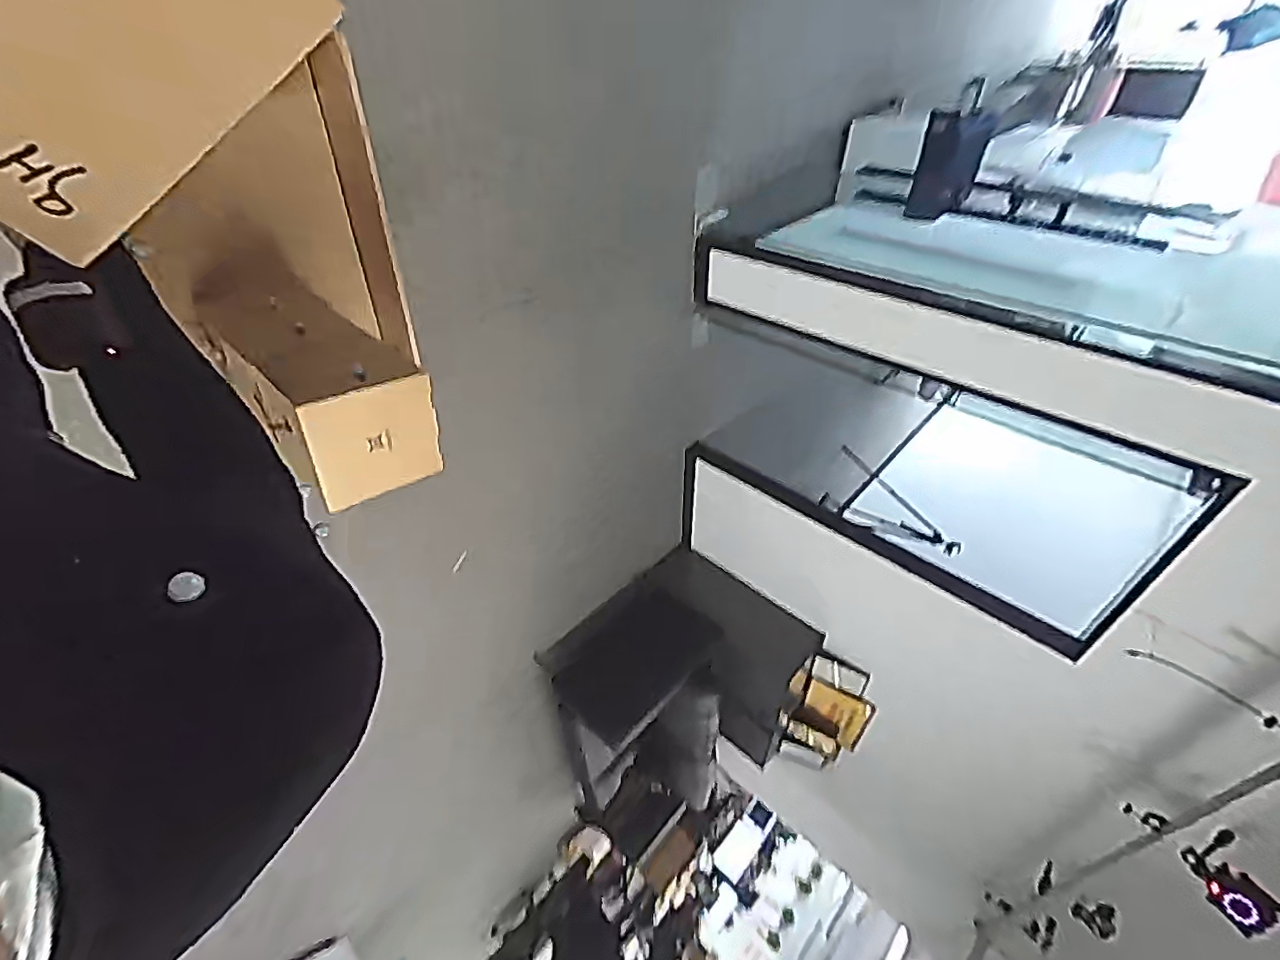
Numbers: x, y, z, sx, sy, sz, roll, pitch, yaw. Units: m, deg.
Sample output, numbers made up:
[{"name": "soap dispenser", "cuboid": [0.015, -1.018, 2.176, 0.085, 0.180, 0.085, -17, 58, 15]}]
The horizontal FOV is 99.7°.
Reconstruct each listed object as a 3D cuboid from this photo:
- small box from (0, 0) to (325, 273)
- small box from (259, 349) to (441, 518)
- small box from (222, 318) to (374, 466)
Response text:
[{"name": "small box", "cuboid": [-0.285, -0.230, 0.223, 0.179, 0.176, 0.168, -50, 148, -4]}, {"name": "small box", "cuboid": [-0.425, -0.077, 0.795, 0.179, 0.176, 0.168, -30, 137, -39]}, {"name": "small box", "cuboid": [-0.542, -0.150, 0.880, 0.179, 0.176, 0.168, -30, 137, -39]}]
